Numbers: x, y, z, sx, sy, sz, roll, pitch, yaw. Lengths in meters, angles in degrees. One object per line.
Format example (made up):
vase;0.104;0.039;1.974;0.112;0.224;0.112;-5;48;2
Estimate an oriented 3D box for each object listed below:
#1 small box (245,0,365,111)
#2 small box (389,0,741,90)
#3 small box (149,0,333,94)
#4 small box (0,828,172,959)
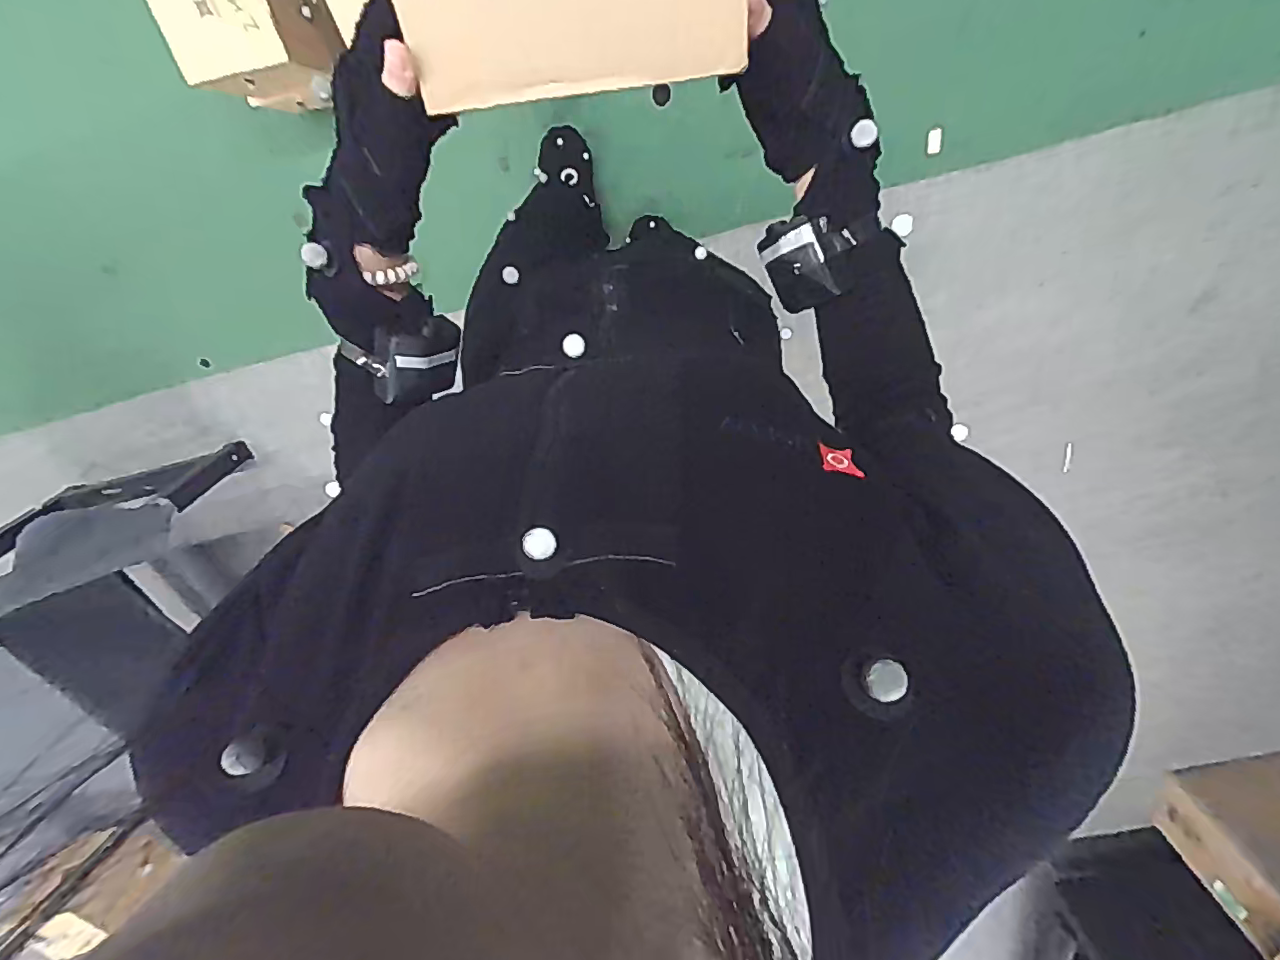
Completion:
small box;-0.661;-0.823;1.032;0.168;0.176;0.179;-9;119;3
small box;-0.042;-0.326;0.296;0.179;0.176;0.168;-4;128;3
small box;-0.649;-0.752;0.882;0.179;0.176;0.168;-9;120;3
small box;-1.167;0.875;1.143;0.179;0.176;0.168;-13;120;4
